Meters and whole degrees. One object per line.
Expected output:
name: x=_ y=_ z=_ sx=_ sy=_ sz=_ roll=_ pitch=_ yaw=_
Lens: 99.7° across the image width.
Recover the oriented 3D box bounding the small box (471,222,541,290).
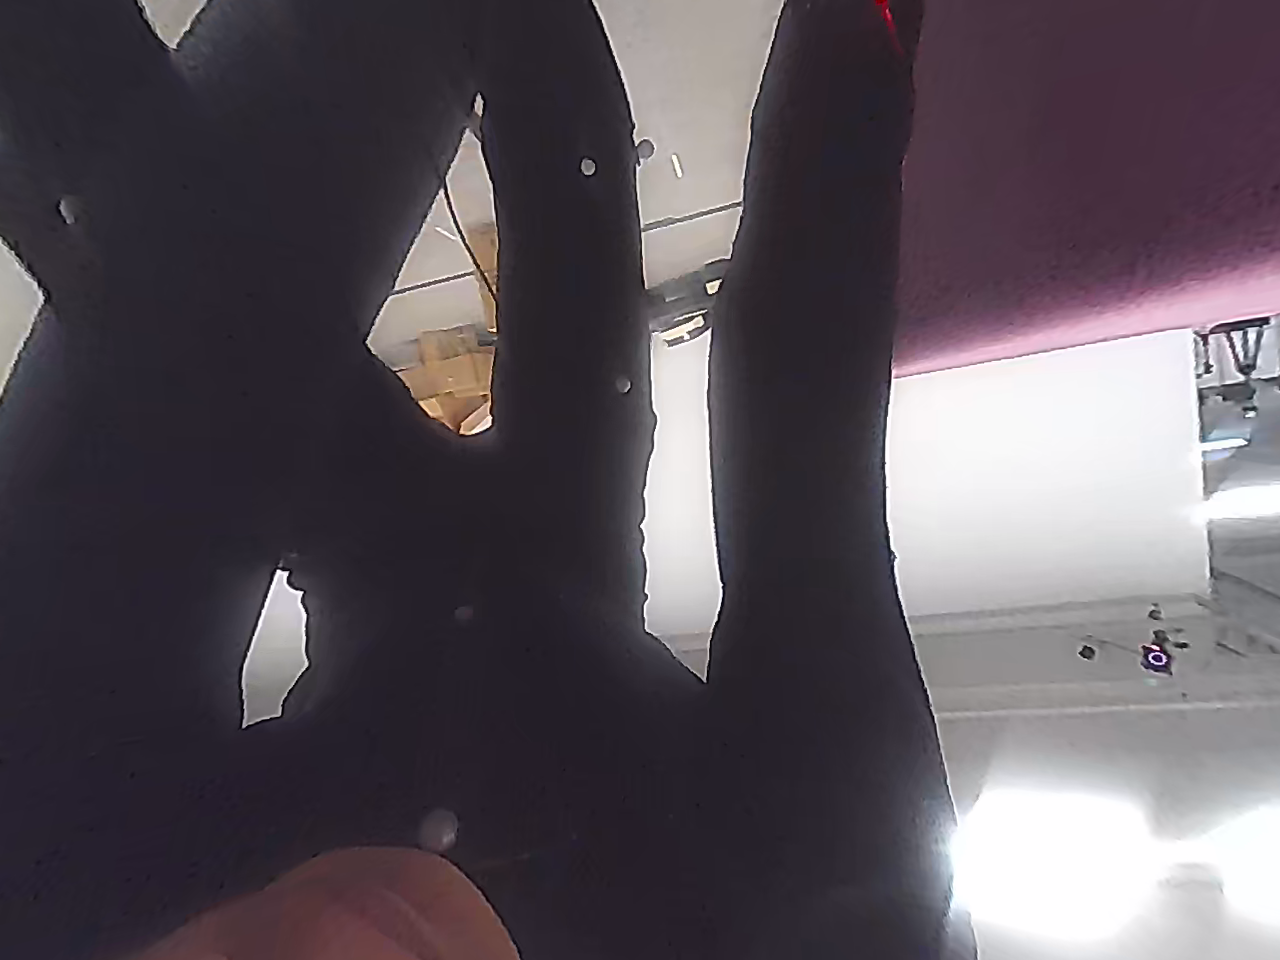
small box: x=-0.470 y=-0.788 z=1.908 sx=0.168 sy=0.176 sz=0.179 roll=-8 pitch=-174 yaw=16
